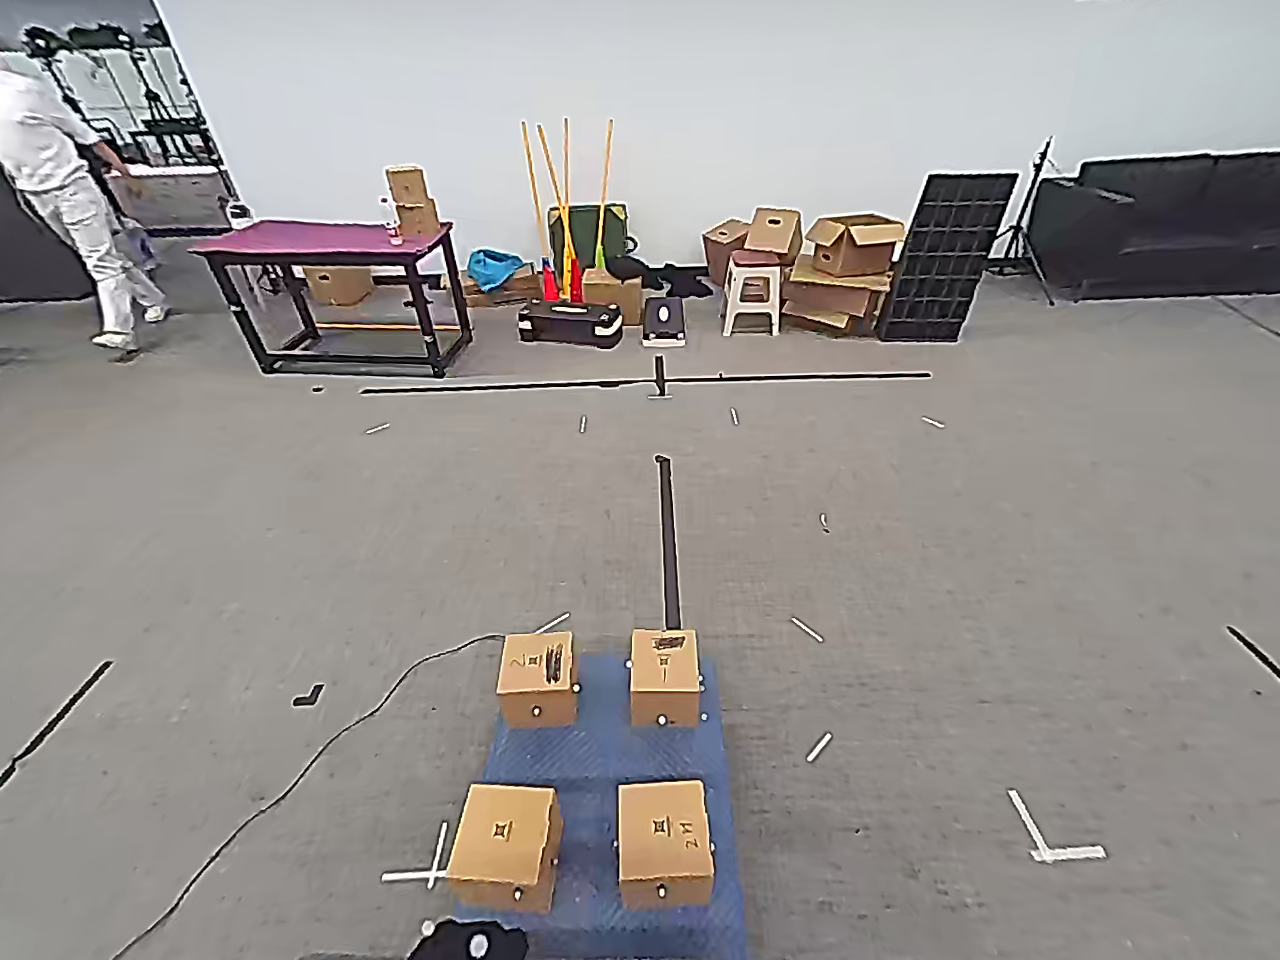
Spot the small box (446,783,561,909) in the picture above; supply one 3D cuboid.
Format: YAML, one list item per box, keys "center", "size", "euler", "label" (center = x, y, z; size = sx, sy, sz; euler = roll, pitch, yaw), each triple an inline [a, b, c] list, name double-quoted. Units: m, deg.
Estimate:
- center: [-0.263, 0.739, 1.091]
  size: [0.179, 0.176, 0.168]
  euler: [2, 37, 2]
  label: "small box"

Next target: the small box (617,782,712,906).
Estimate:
- center: [0.047, 0.733, 1.088]
  size: [0.179, 0.176, 0.168]
  euler: [-2, 38, -1]
  label: "small box"

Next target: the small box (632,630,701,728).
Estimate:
- center: [0.064, 0.507, 1.383]
  size: [0.168, 0.176, 0.179]
  euler: [0, 39, 2]
  label: "small box"
